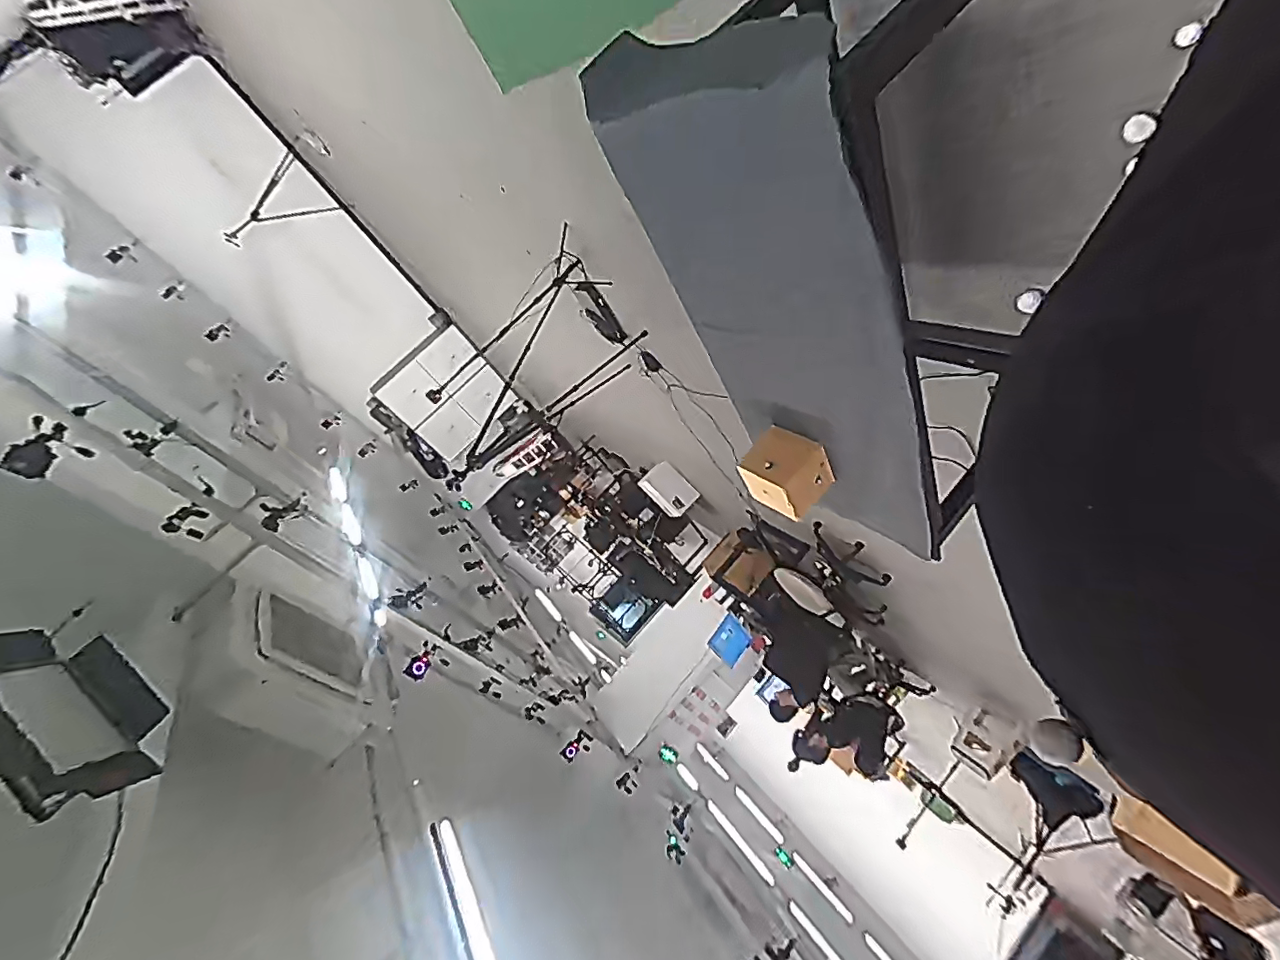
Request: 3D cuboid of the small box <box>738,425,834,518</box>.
[{"bbox_3d":[0.414,-0.030,1.523,0.179,0.176,0.168,32,166,46],"label":"small box"}]
